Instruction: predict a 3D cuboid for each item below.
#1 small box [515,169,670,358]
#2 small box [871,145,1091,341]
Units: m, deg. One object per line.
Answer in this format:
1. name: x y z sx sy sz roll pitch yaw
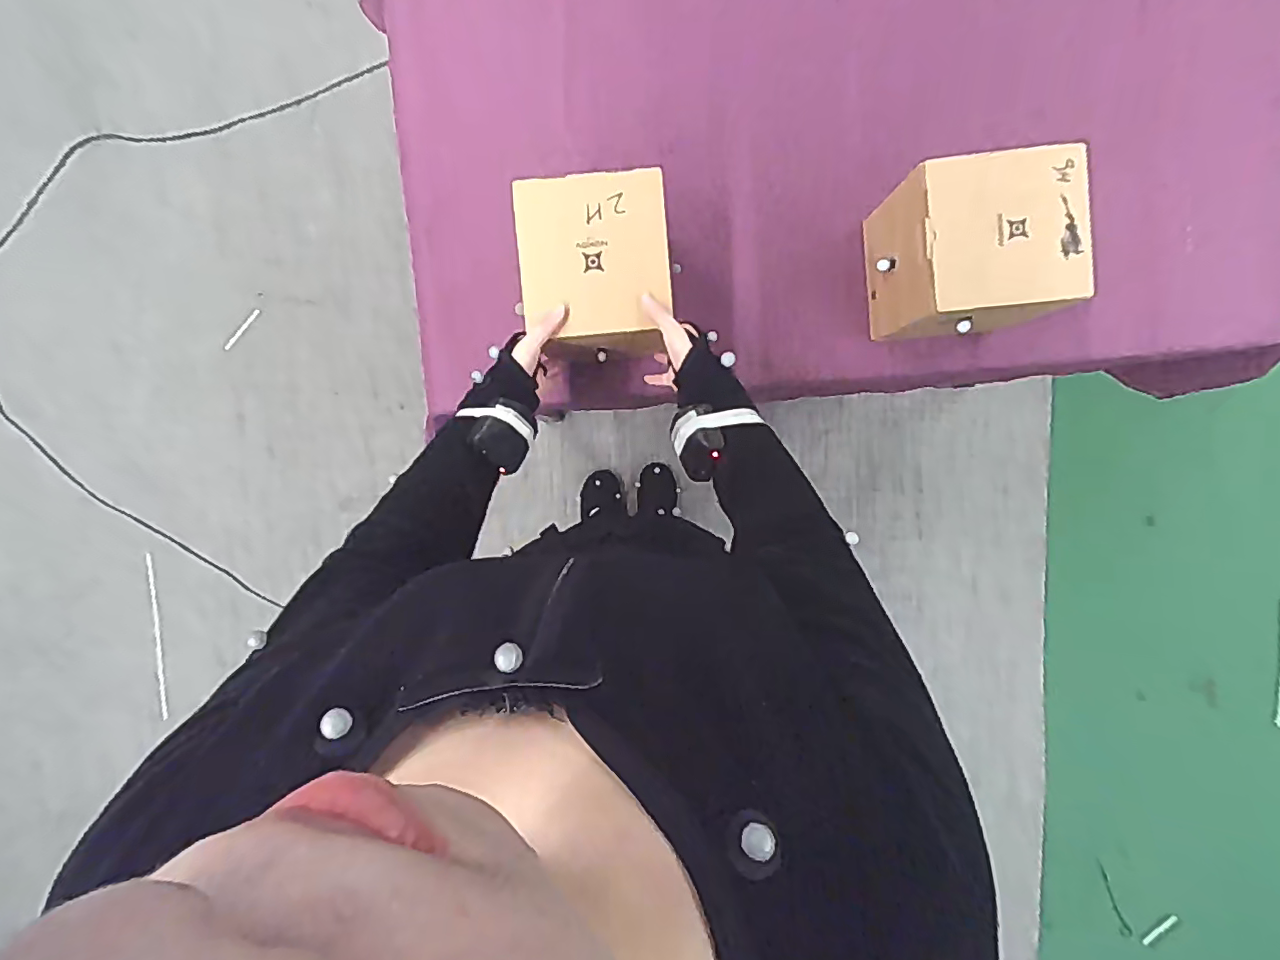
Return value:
1. small box: -0.050 -0.251 0.671 0.168 0.176 0.179 -4 93 0
2. small box: 0.397 -0.273 0.662 0.179 0.176 0.168 -5 94 2
